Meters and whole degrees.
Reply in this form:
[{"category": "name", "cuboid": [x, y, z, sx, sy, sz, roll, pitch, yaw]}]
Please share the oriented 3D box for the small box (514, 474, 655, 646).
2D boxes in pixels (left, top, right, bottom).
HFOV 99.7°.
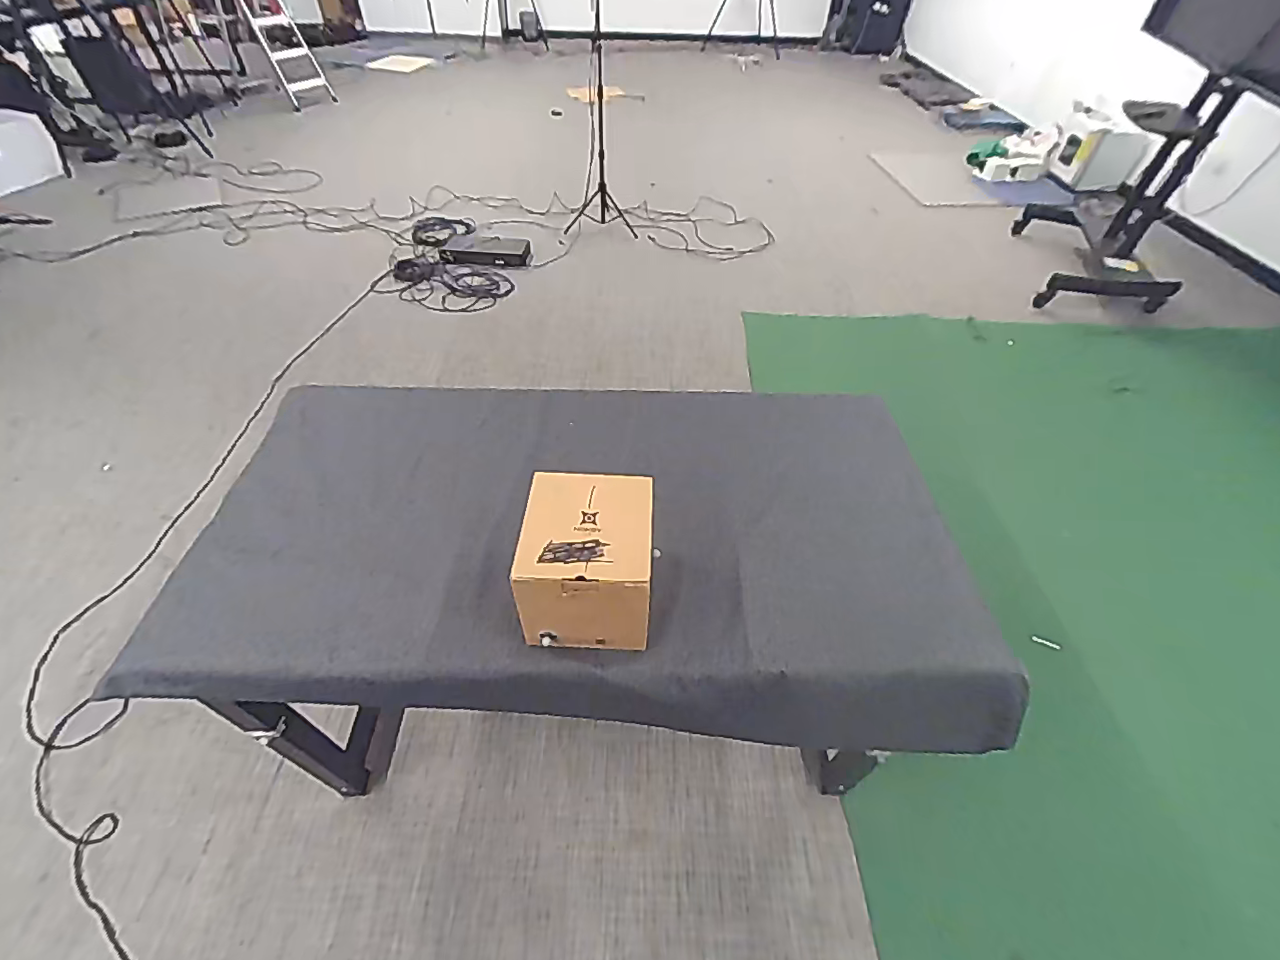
[{"category": "small box", "cuboid": [-0.067, 0.114, 0.756, 0.168, 0.176, 0.179, 4, 46, 0]}]
